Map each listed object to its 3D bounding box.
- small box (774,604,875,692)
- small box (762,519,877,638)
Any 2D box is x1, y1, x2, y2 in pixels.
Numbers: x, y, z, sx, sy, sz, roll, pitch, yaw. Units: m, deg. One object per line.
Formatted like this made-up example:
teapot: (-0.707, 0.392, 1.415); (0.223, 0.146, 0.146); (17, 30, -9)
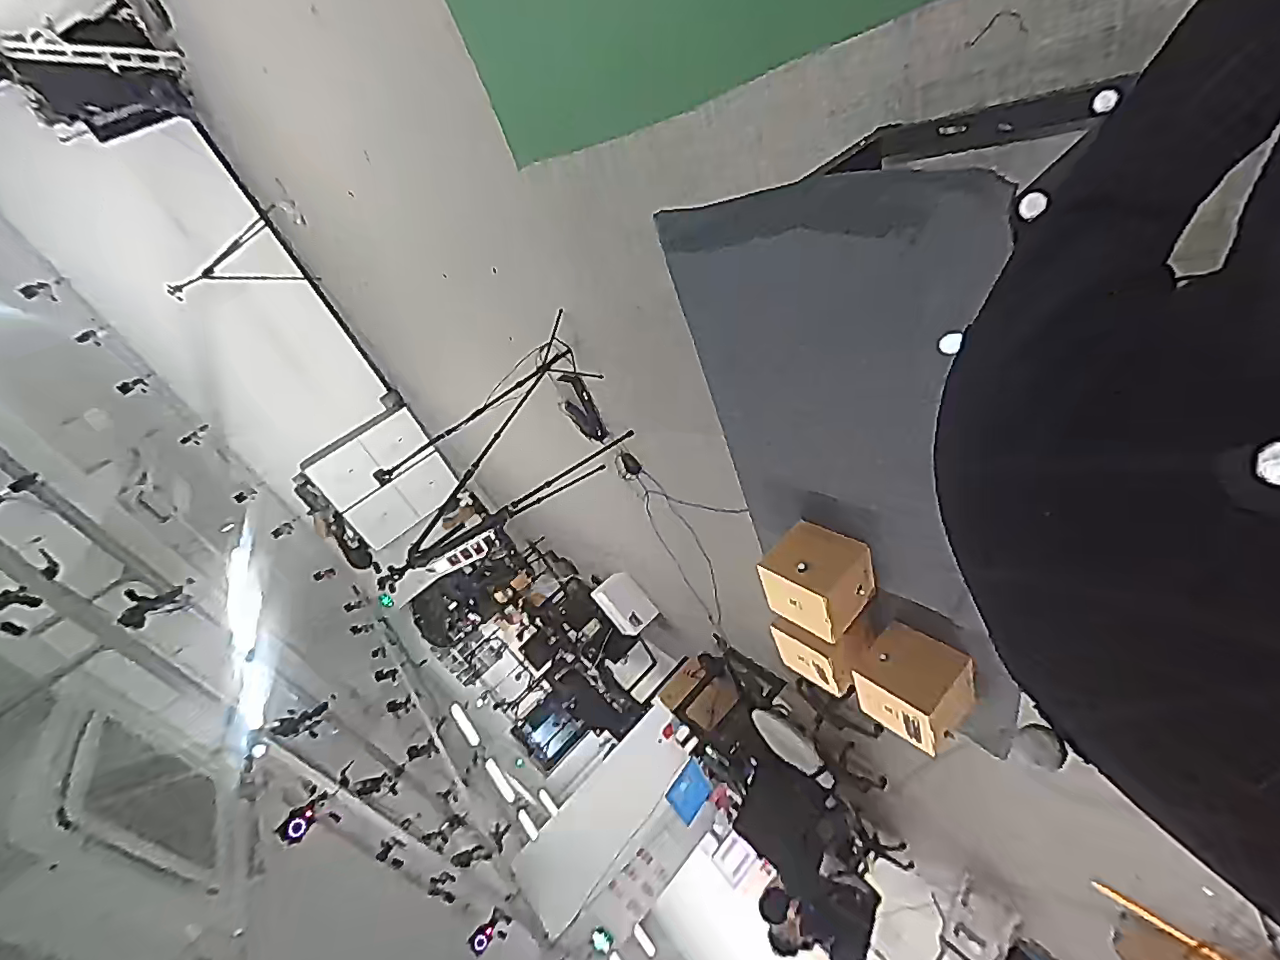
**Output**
small box: (0.476, 0.389, 1.371); (0.179, 0.176, 0.168); (22, 145, 50)
small box: (0.408, 0.214, 1.222); (0.179, 0.176, 0.168); (23, 146, 47)
